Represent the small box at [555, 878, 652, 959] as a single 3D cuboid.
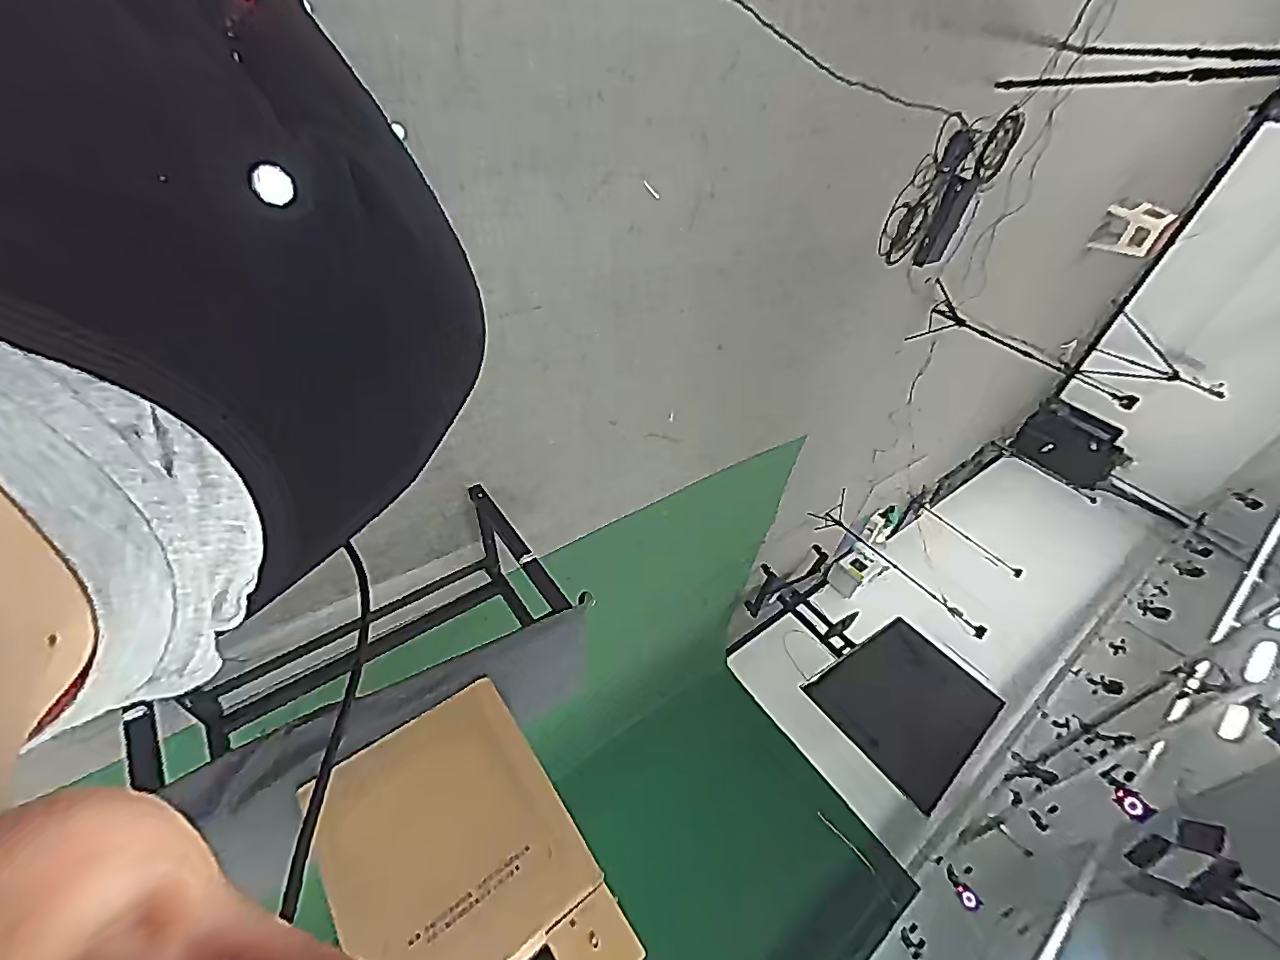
[{"bbox_3d":[-0.092,1.103,1.295,0.168,0.176,0.179,-27,142,-29],"label":"small box"}]
